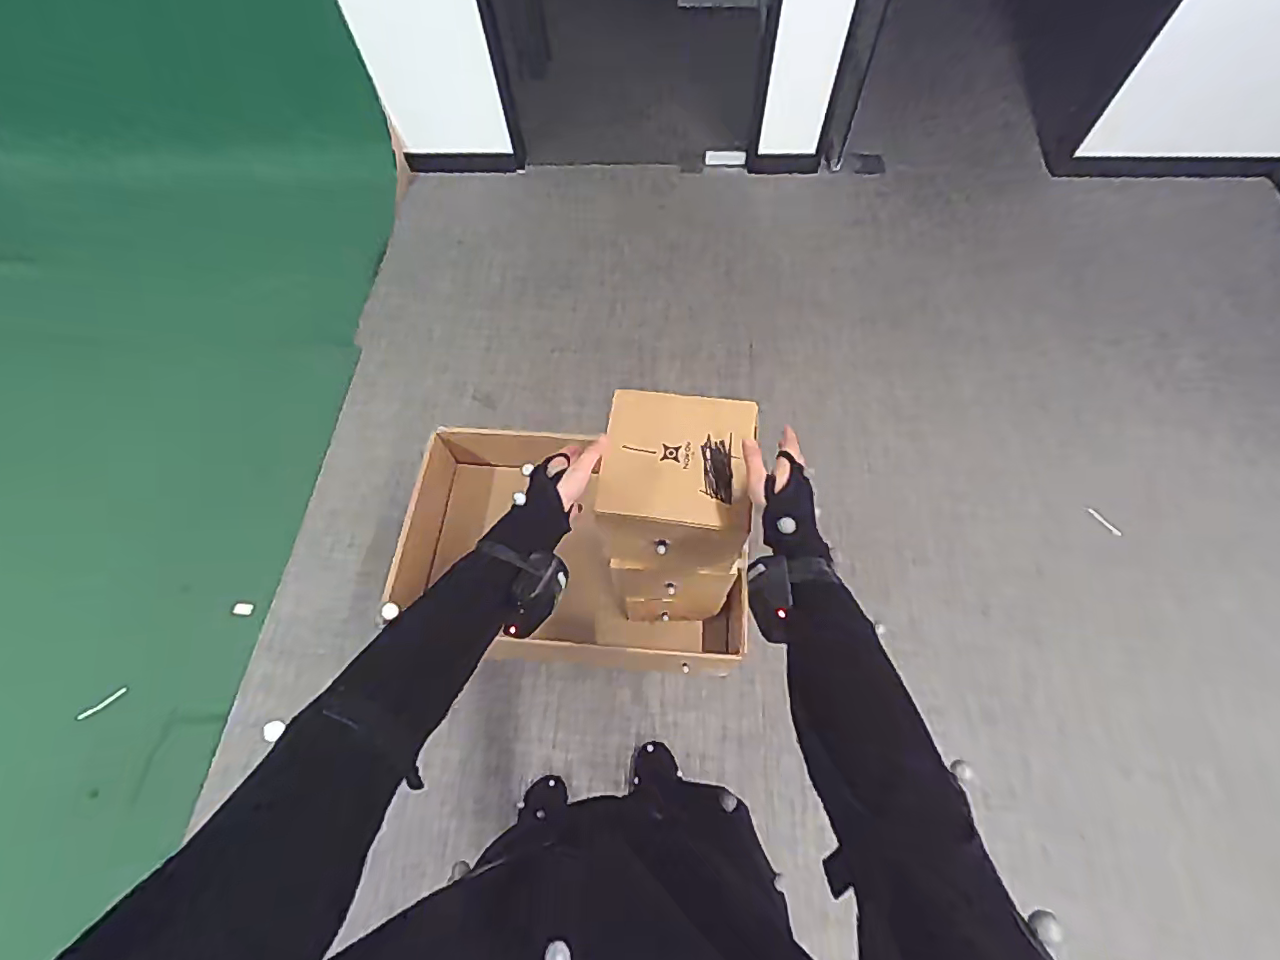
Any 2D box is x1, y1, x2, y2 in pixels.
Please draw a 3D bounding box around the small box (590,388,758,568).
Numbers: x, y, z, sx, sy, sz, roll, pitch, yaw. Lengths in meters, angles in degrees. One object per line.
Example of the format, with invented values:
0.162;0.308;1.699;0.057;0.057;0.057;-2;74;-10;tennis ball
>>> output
0.045;0.006;0.688;0.179;0.176;0.168;7;65;6;small box
